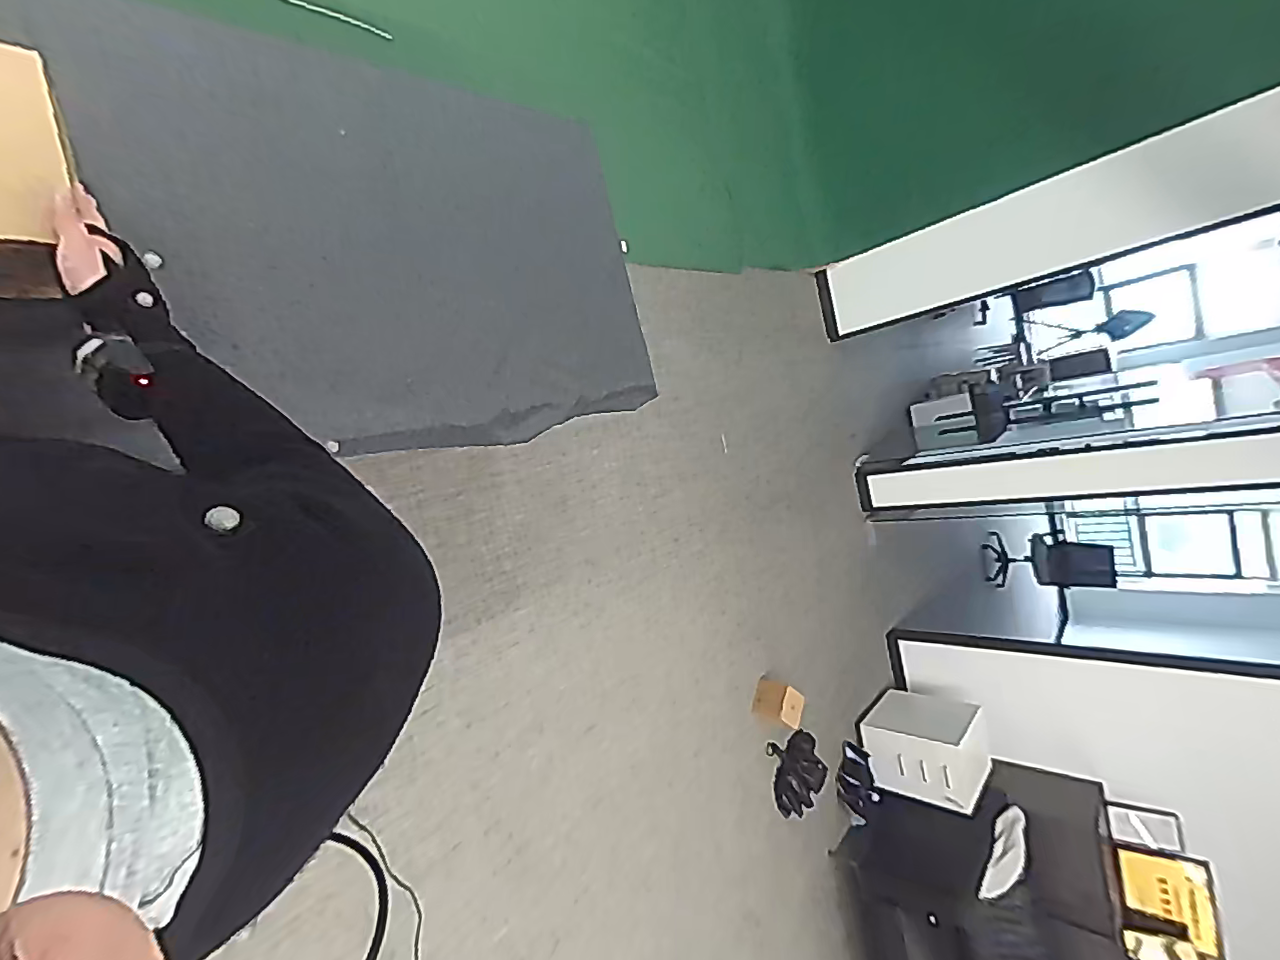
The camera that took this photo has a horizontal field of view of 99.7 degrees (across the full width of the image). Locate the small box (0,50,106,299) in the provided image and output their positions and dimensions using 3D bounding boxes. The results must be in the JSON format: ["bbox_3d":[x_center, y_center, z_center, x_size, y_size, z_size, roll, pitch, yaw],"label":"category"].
[{"bbox_3d":[-0.631,-0.275,0.500,0.168,0.176,0.179,-14,98,-40],"label":"small box"}]
